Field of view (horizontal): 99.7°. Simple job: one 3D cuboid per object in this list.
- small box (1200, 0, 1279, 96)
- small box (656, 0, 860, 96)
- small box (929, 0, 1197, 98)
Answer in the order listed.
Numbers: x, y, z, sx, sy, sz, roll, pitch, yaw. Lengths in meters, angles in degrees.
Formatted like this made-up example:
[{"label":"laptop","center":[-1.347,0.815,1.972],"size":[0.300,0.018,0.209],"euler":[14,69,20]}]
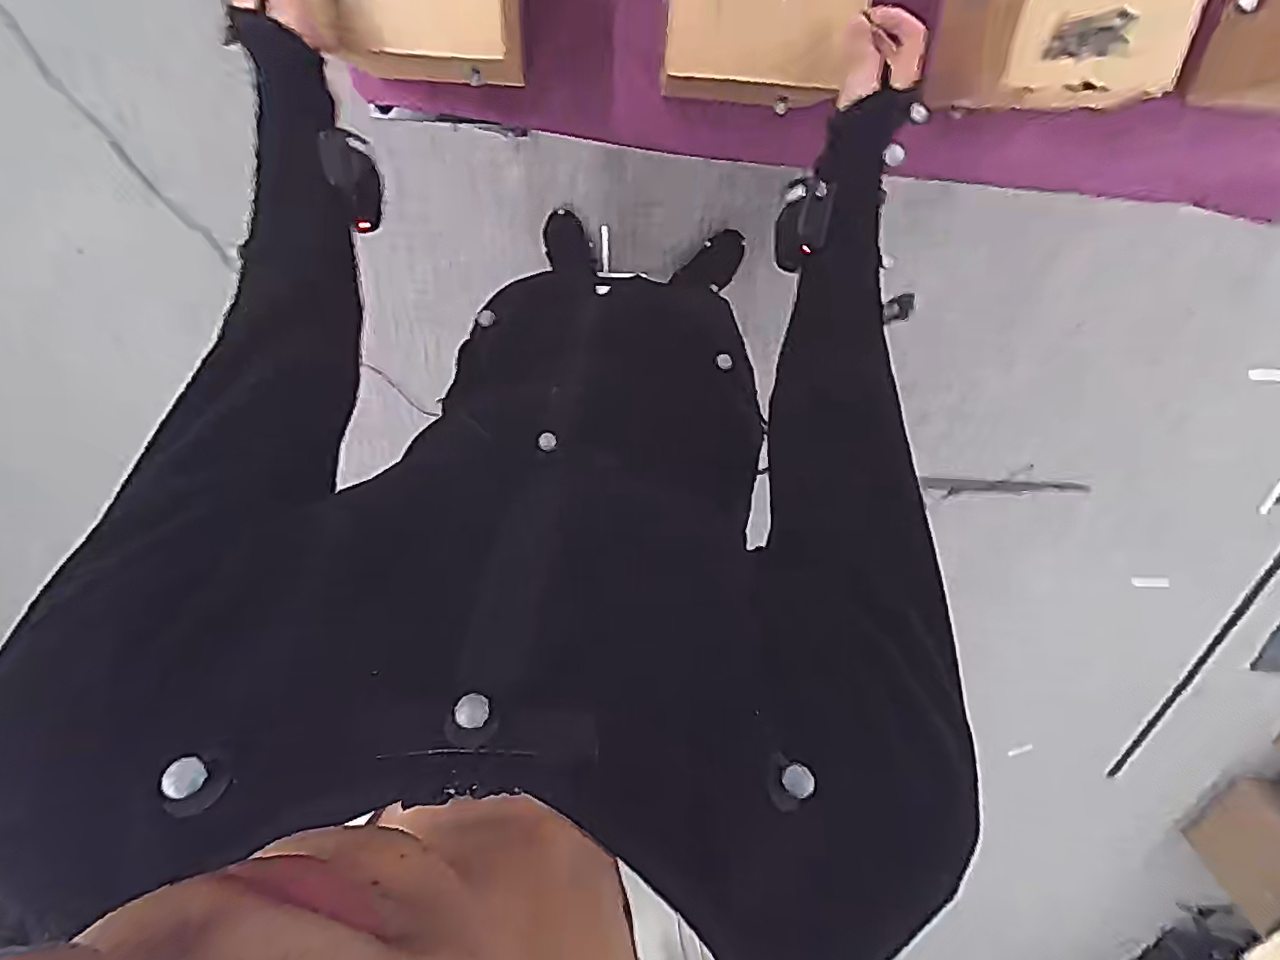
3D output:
[{"label":"small box","center":[0.747,-0.505,0.547],"size":[0.168,0.176,0.179],"euler":[4,118,-3]},{"label":"small box","center":[0.114,-0.500,0.544],"size":[0.179,0.176,0.168],"euler":[3,119,-3]},{"label":"small box","center":[0.425,-0.502,0.547],"size":[0.168,0.176,0.179],"euler":[0,119,-1]}]
